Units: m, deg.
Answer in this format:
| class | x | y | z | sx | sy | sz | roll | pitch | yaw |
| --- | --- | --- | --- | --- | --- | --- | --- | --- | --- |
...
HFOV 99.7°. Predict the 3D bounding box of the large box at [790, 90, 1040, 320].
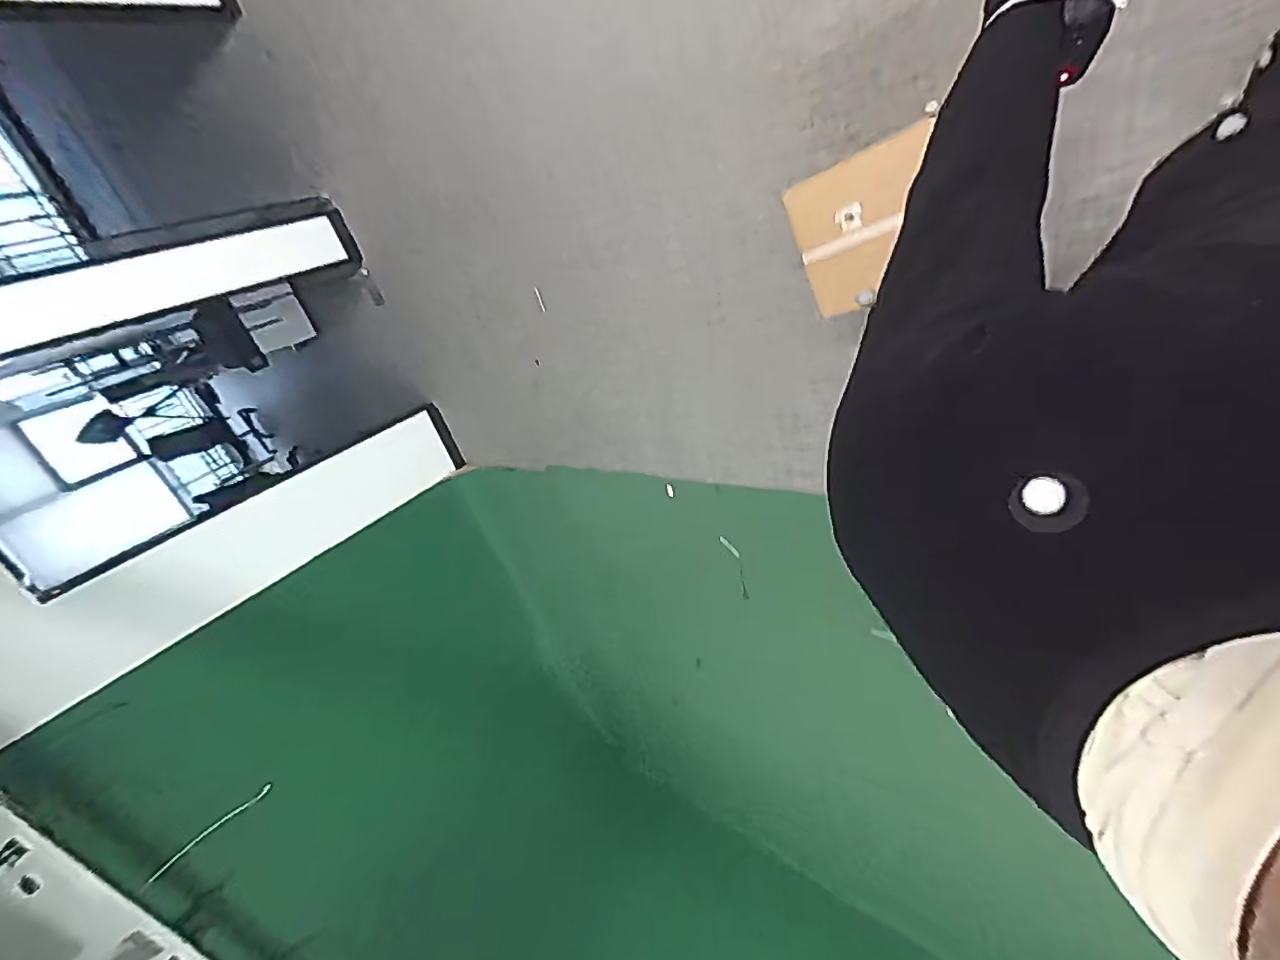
| class | x | y | z | sx | sy | sz | roll | pitch | yaw |
| --- | --- | --- | --- | --- | --- | --- | --- | --- | --- |
| large box | 0.637 | -0.621 | 1.259 | 0.408 | 0.320 | 0.320 | -5 | 116 | 48 |
